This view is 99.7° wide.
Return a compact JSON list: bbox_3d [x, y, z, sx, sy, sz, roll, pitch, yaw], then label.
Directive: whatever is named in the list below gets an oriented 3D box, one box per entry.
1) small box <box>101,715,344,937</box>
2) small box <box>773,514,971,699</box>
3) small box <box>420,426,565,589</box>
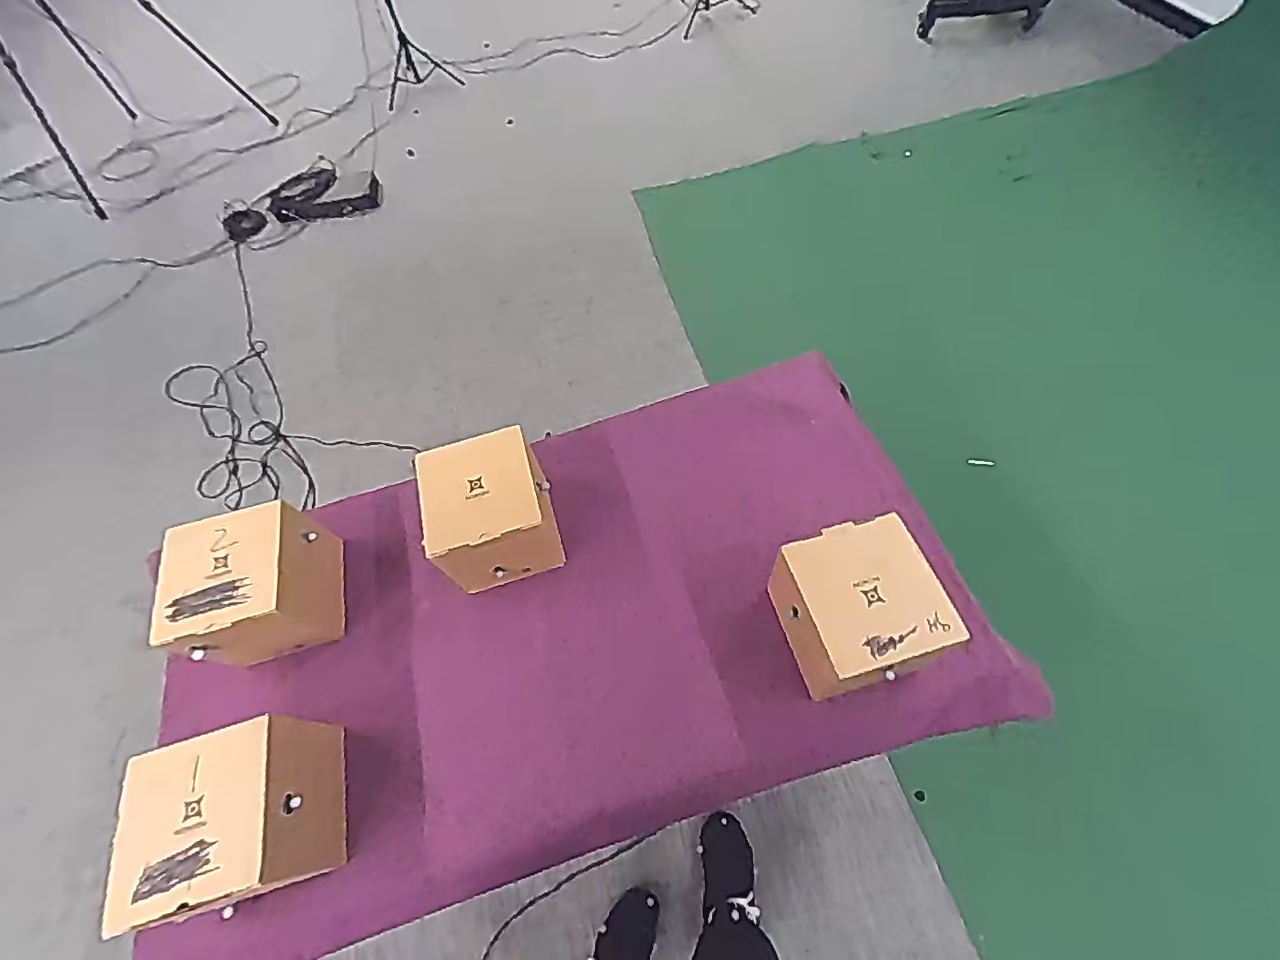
[{"bbox_3d":[-0.488,0.410,0.665,0.168,0.176,0.179,-16,60,-5],"label":"small box"},{"bbox_3d":[0.293,0.176,0.733,0.168,0.176,0.179,-16,59,-3],"label":"small box"},{"bbox_3d":[-0.226,0.048,0.849,0.168,0.176,0.179,-17,62,-5],"label":"small box"}]
